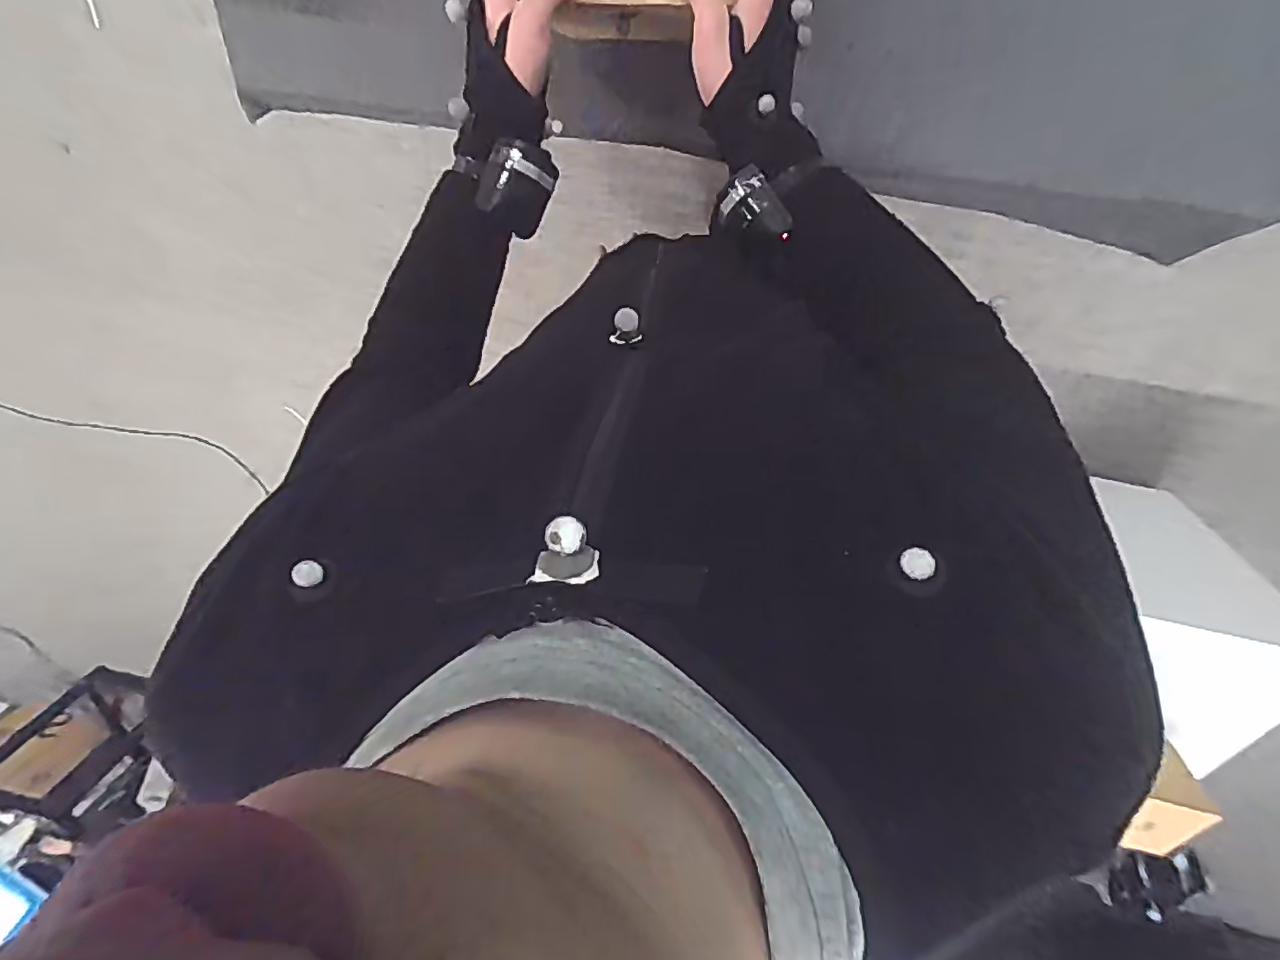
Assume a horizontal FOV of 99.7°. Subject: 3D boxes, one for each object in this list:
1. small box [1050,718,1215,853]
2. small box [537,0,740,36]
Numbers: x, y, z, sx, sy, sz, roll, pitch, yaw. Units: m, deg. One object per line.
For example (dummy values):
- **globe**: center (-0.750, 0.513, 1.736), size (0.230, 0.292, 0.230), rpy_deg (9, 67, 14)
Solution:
- **small box**: center (1.021, 0.643, 1.147), size (0.168, 0.176, 0.179), rpy_deg (12, 123, 3)
- **small box**: center (0.000, -0.464, 0.421), size (0.179, 0.176, 0.168), rpy_deg (5, 123, 4)
